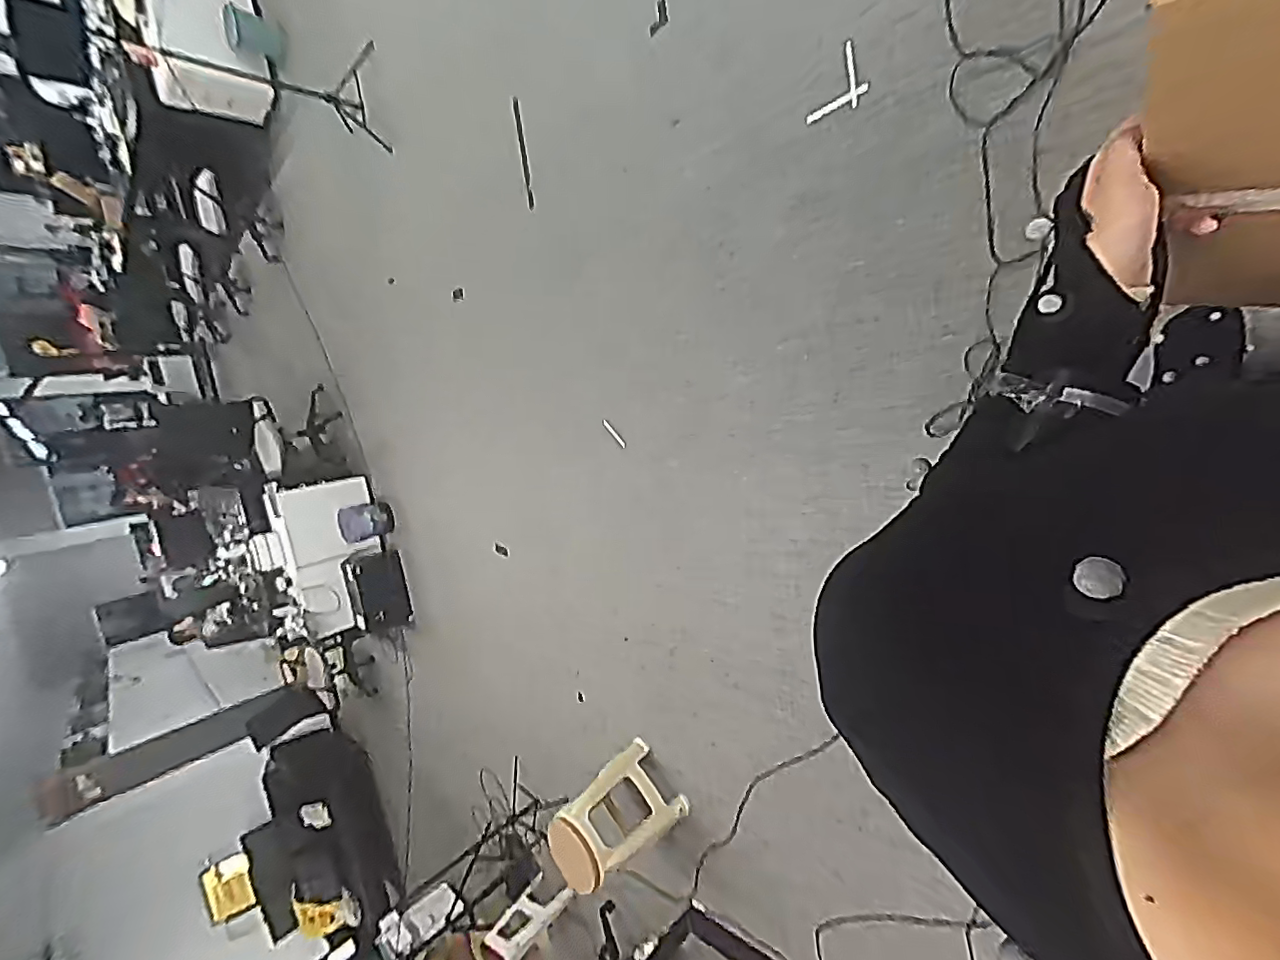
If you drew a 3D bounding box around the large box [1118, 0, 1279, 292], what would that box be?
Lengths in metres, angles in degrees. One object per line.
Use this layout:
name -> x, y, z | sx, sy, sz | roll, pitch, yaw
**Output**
large box -> 0.496, -0.291, 0.211 | 0.408, 0.320, 0.320 | 18, 92, 45
